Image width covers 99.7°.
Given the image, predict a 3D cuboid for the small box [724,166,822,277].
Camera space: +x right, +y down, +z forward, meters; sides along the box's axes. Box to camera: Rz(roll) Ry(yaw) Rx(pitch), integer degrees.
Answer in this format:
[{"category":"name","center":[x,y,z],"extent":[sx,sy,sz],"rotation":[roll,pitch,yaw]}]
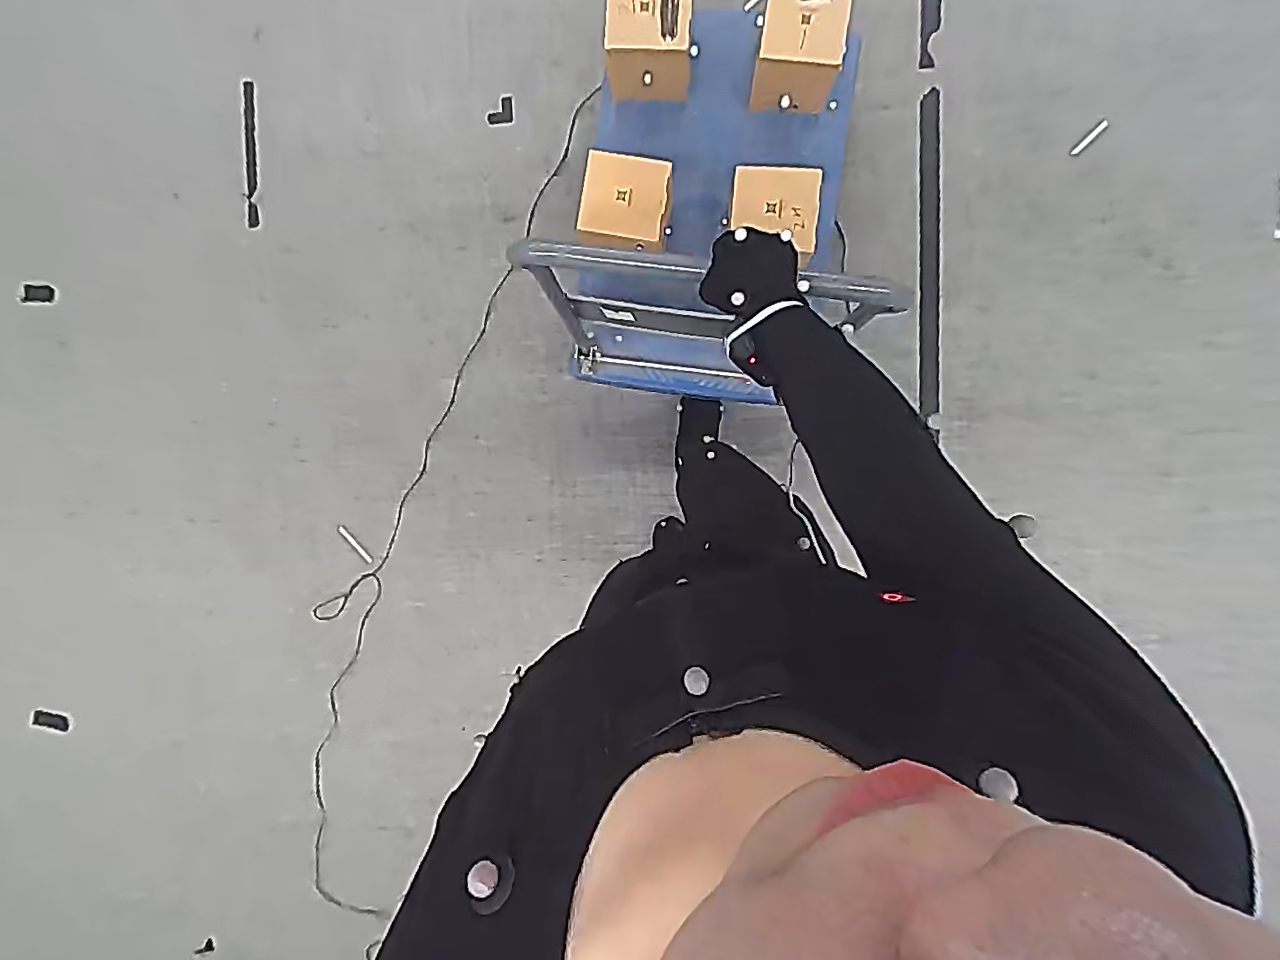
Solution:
[{"category":"small box","center":[0.280,-0.553,1.173],"extent":[0.179,0.176,0.168],"rotation":[5,94,4]}]

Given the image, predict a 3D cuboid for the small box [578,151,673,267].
[{"category":"small box","center":[-0.027,-0.588,1.194],"extent":[0.179,0.176,0.168],"rotation":[10,93,2]}]

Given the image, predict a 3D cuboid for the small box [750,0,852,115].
[{"category":"small box","center":[0.336,-0.923,1.148],"extent":[0.168,0.176,0.179],"rotation":[8,95,4]}]
